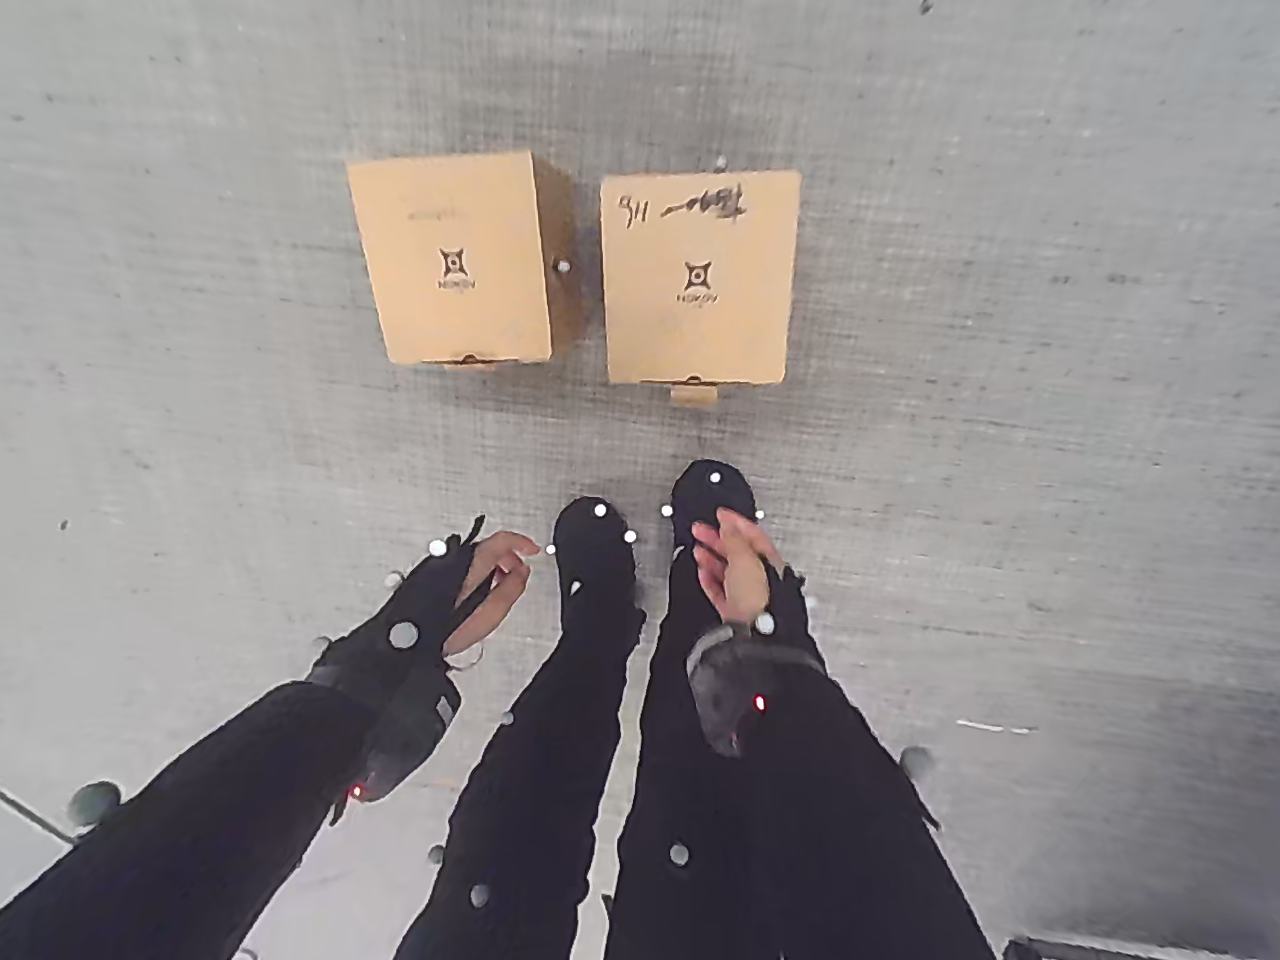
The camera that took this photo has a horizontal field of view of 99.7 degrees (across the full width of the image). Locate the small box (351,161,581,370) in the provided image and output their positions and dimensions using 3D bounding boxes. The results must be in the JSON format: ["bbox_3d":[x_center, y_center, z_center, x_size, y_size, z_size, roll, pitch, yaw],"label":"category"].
[{"bbox_3d":[-0.162,-0.221,0.571,0.168,0.176,0.179,-1,112,6],"label":"small box"}]
